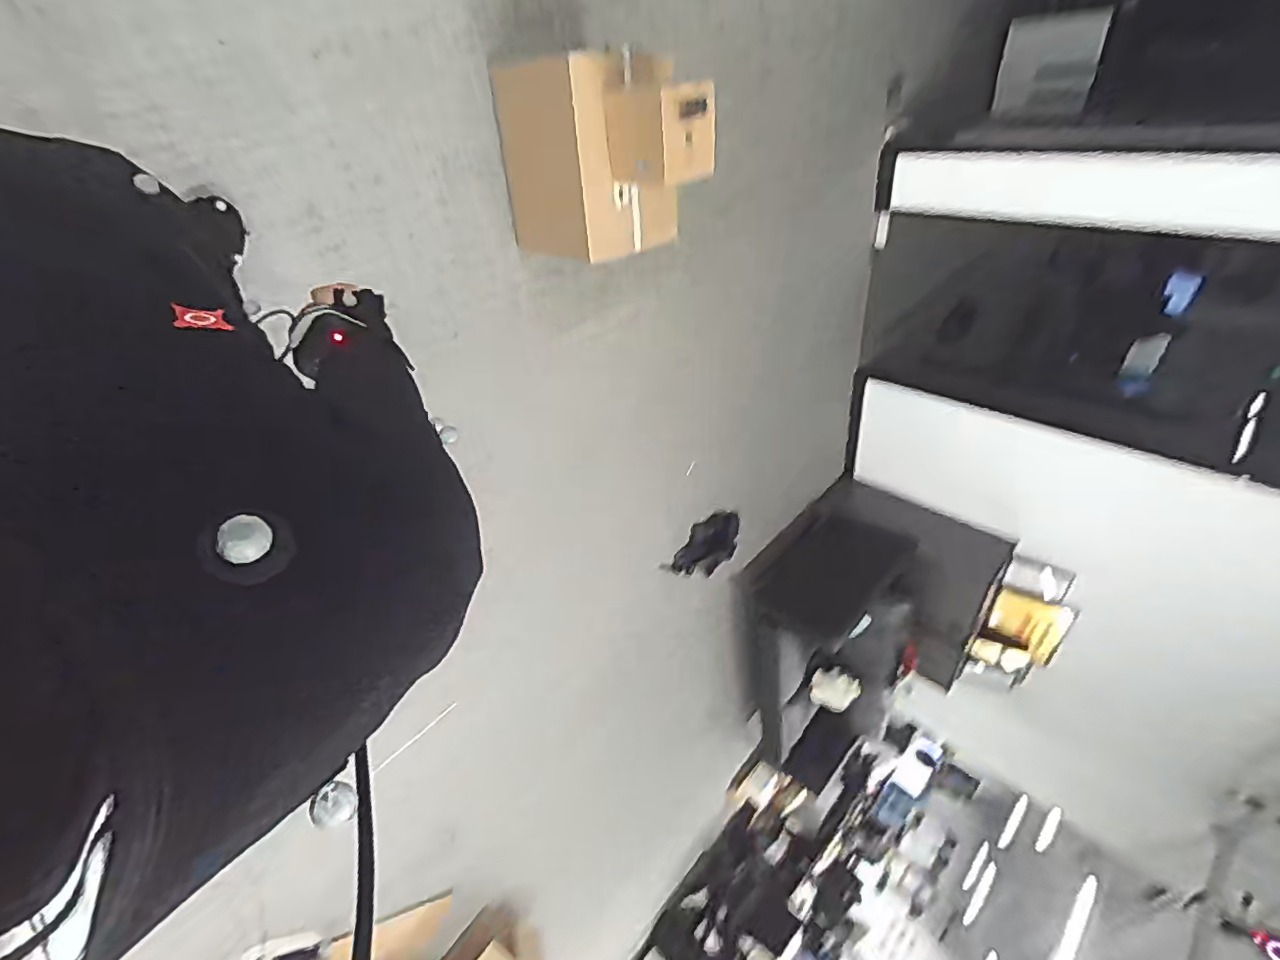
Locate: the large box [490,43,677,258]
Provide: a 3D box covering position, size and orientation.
[{"bbox_3d":[-0.125,-0.813,1.339,0.320,0.320,0.408,-31,135,-32],"label":"large box"}]
